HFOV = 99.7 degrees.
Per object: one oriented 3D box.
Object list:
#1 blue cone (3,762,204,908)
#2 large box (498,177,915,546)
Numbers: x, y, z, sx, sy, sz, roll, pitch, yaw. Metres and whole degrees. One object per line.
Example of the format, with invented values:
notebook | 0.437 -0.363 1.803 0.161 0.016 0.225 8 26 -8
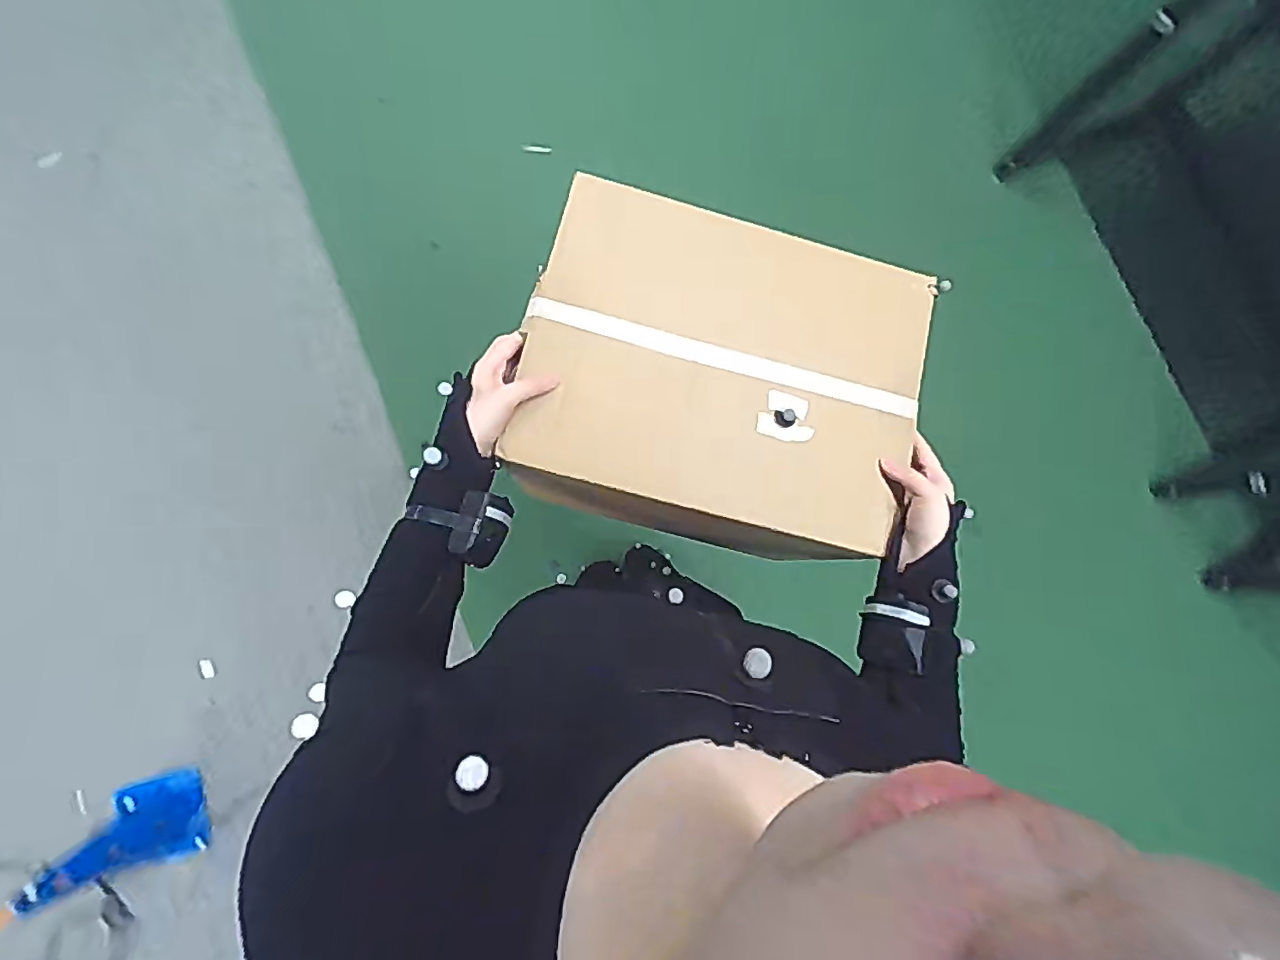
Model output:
blue cone | -1.162 0.785 1.158 0.192 0.380 0.193 -12 84 -8
large box | 0.064 -0.107 0.699 0.408 0.320 0.320 13 81 -5
